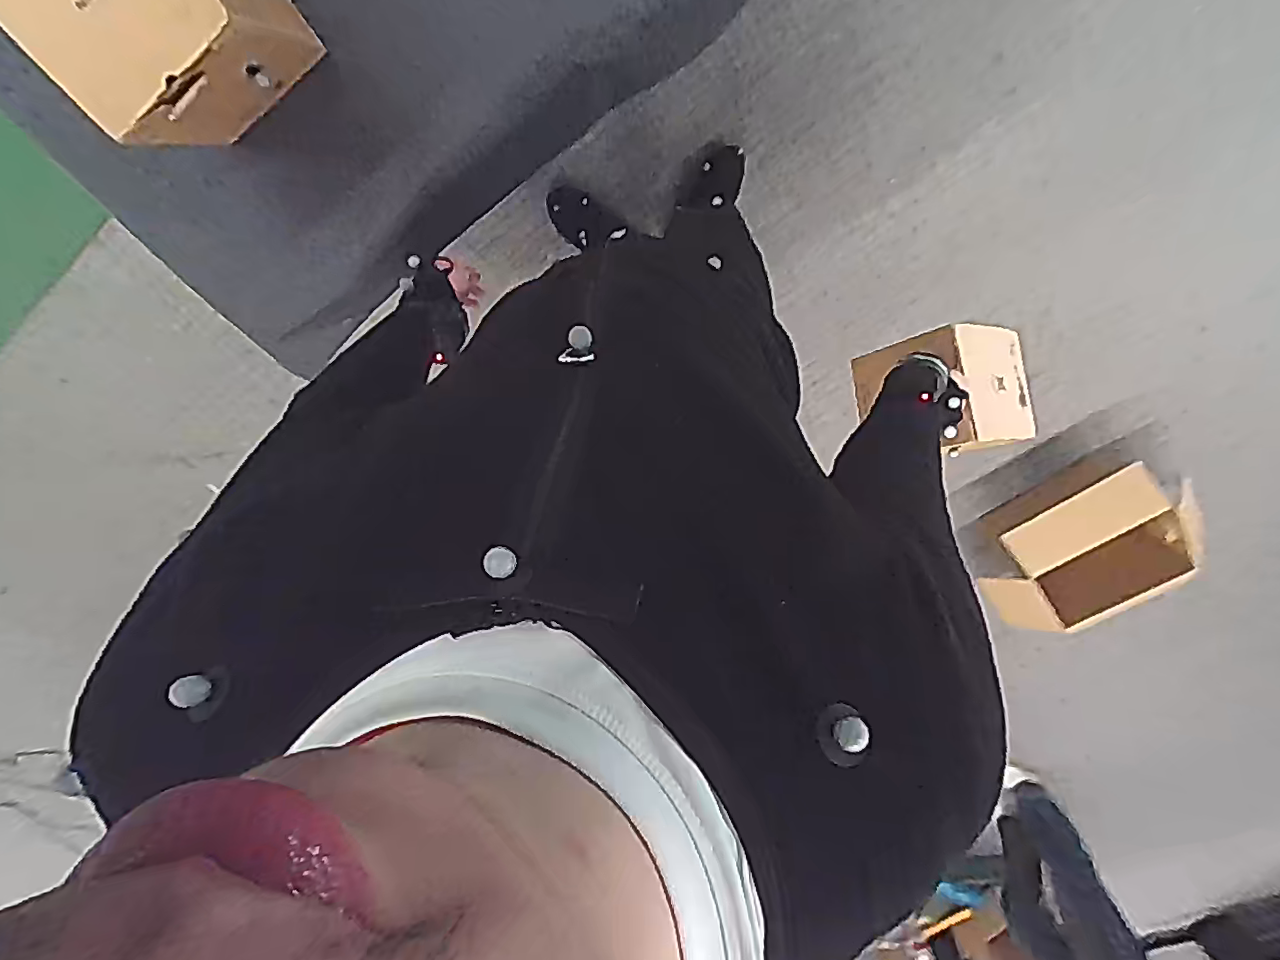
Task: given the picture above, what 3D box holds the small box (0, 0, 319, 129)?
[{"bbox_3d":[-0.442,-0.454,0.490,0.168,0.176,0.179,-30,118,14],"label":"small box"}]
